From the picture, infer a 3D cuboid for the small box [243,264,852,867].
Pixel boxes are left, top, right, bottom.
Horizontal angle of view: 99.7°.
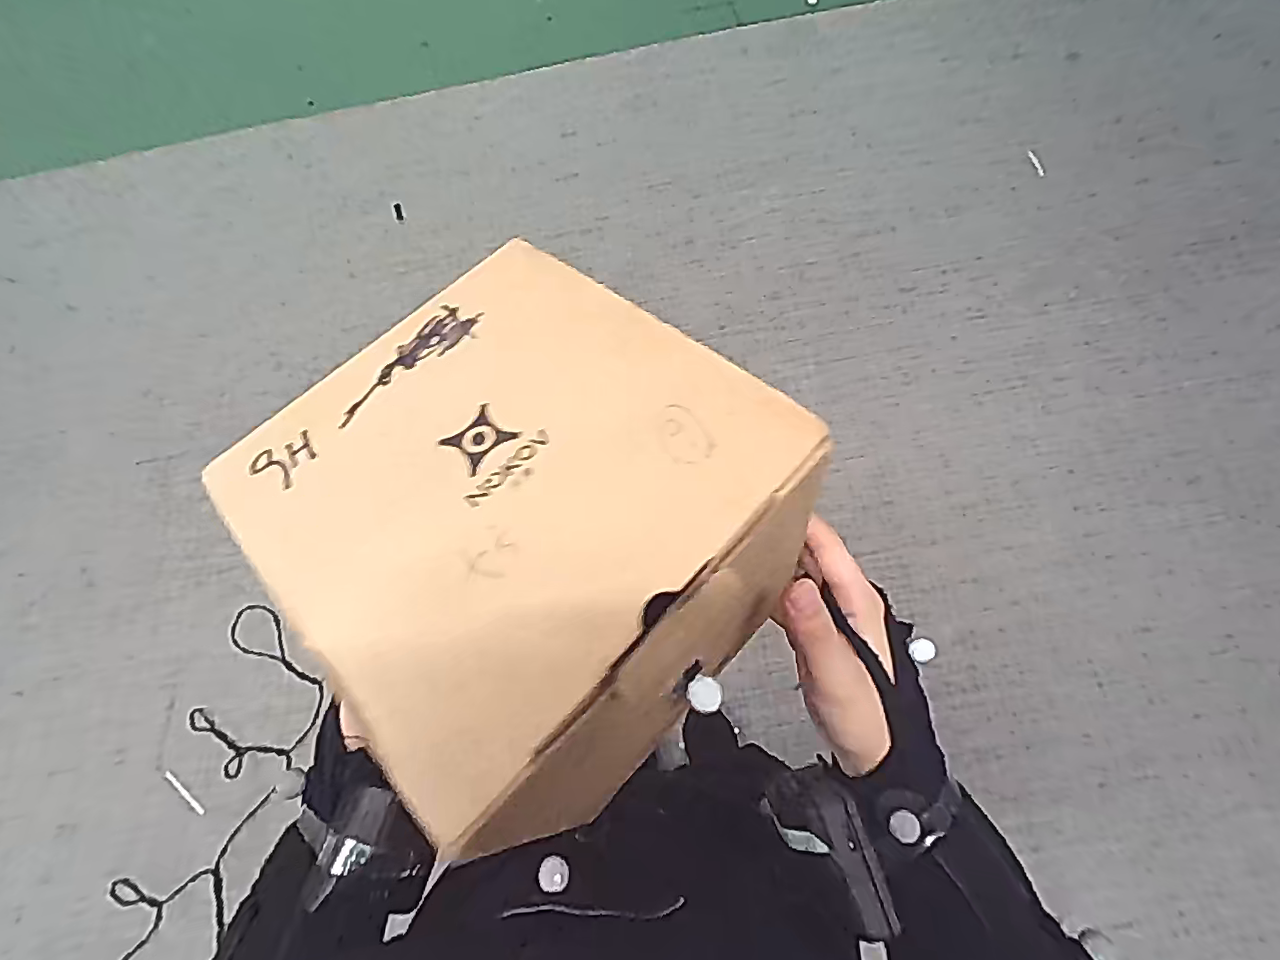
[{"bbox_3d":[-0.032,0.039,0.268,0.168,0.176,0.179,-42,63,-15],"label":"small box"}]
